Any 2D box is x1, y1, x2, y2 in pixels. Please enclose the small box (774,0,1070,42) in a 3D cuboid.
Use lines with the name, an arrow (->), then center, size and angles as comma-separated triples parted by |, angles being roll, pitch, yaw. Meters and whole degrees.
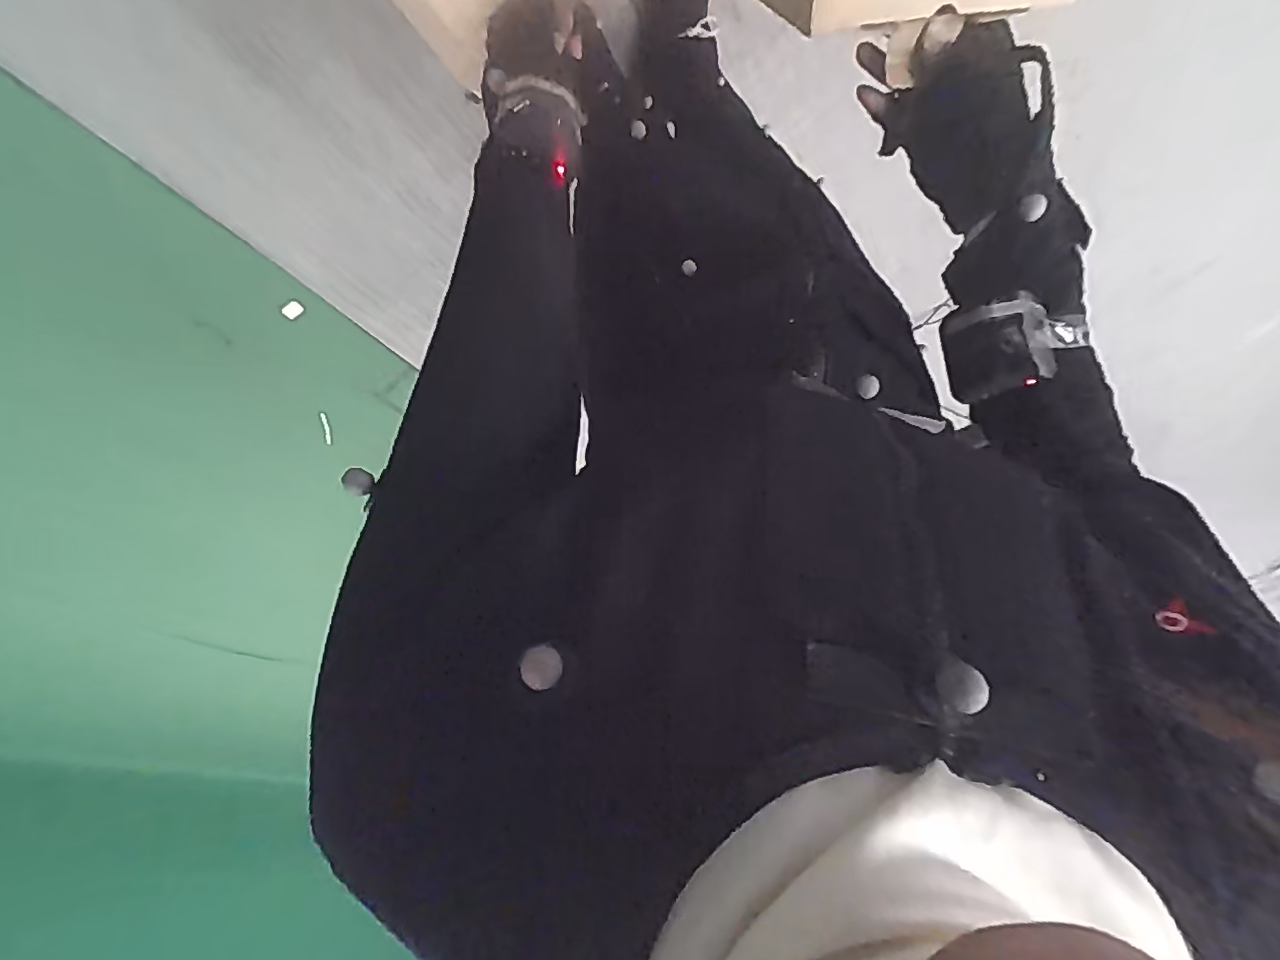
small box -> 0.169, -0.394, 0.317 | 0.168, 0.176, 0.179 | -8, 141, -2
